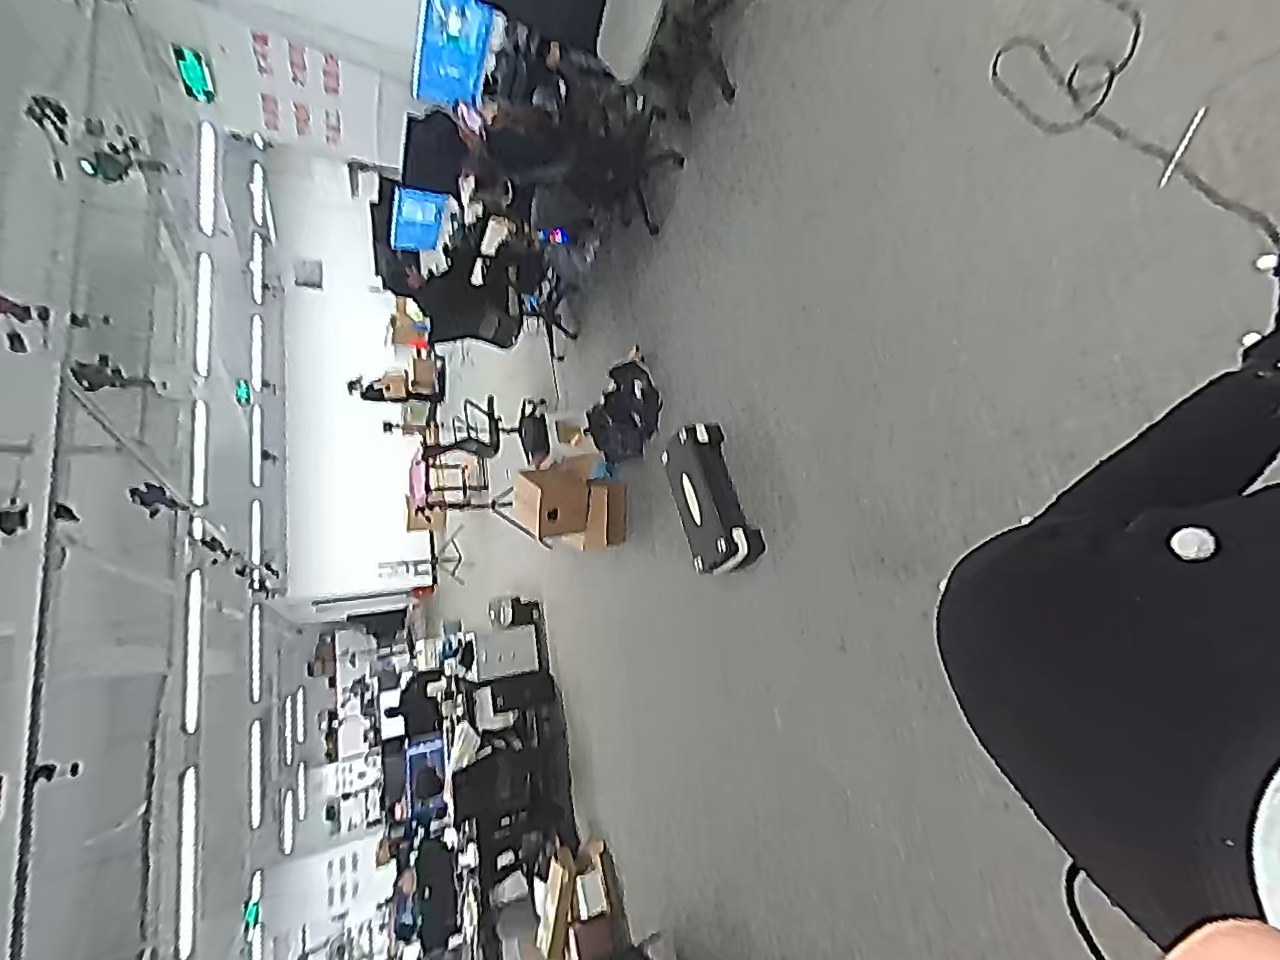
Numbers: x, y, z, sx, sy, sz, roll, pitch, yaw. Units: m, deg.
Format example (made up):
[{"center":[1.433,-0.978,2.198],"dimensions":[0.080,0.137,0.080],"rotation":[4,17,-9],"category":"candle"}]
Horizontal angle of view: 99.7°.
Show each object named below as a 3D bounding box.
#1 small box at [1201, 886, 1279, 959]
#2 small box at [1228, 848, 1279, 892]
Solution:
[{"center":[1.089,0.803,0.879],"dimensions":[0.179,0.176,0.168],"rotation":[-33,64,56],"category":"small box"},{"center":[1.229,0.790,0.965],"dimensions":[0.179,0.176,0.168],"rotation":[-35,63,55],"category":"small box"}]
